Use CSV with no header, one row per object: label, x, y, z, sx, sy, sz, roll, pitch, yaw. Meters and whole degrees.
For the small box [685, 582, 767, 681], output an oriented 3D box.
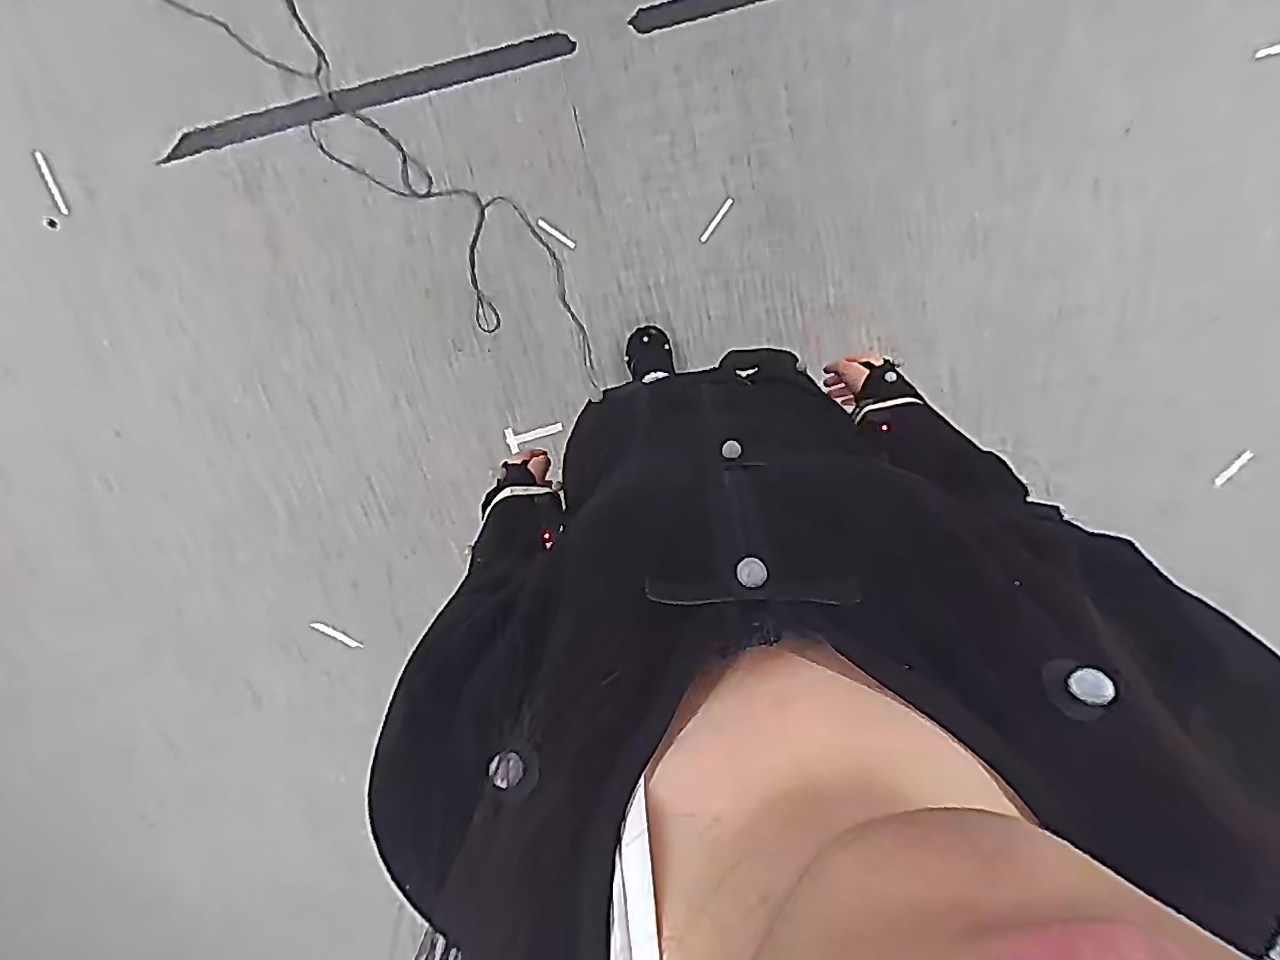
small box,0.231,0.408,1.479,0.168,0.176,0.179,-20,104,4
